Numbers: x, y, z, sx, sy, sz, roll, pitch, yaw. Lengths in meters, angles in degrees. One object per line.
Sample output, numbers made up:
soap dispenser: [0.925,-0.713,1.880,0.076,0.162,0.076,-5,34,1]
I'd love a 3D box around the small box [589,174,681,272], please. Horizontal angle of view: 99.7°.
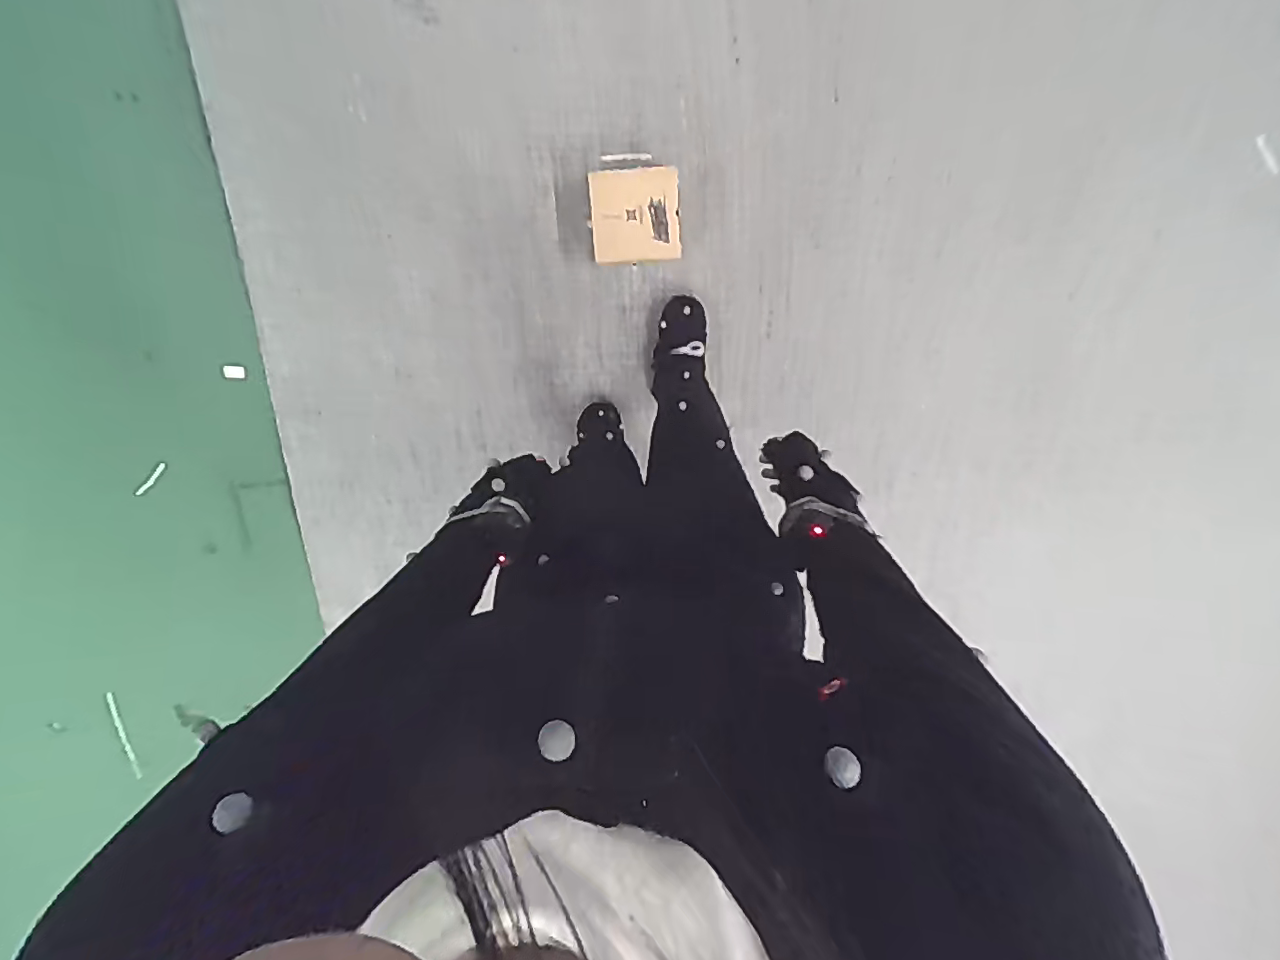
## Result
small box: [-0.010,-0.537,1.146,0.179,0.176,0.168,-3,107,1]
